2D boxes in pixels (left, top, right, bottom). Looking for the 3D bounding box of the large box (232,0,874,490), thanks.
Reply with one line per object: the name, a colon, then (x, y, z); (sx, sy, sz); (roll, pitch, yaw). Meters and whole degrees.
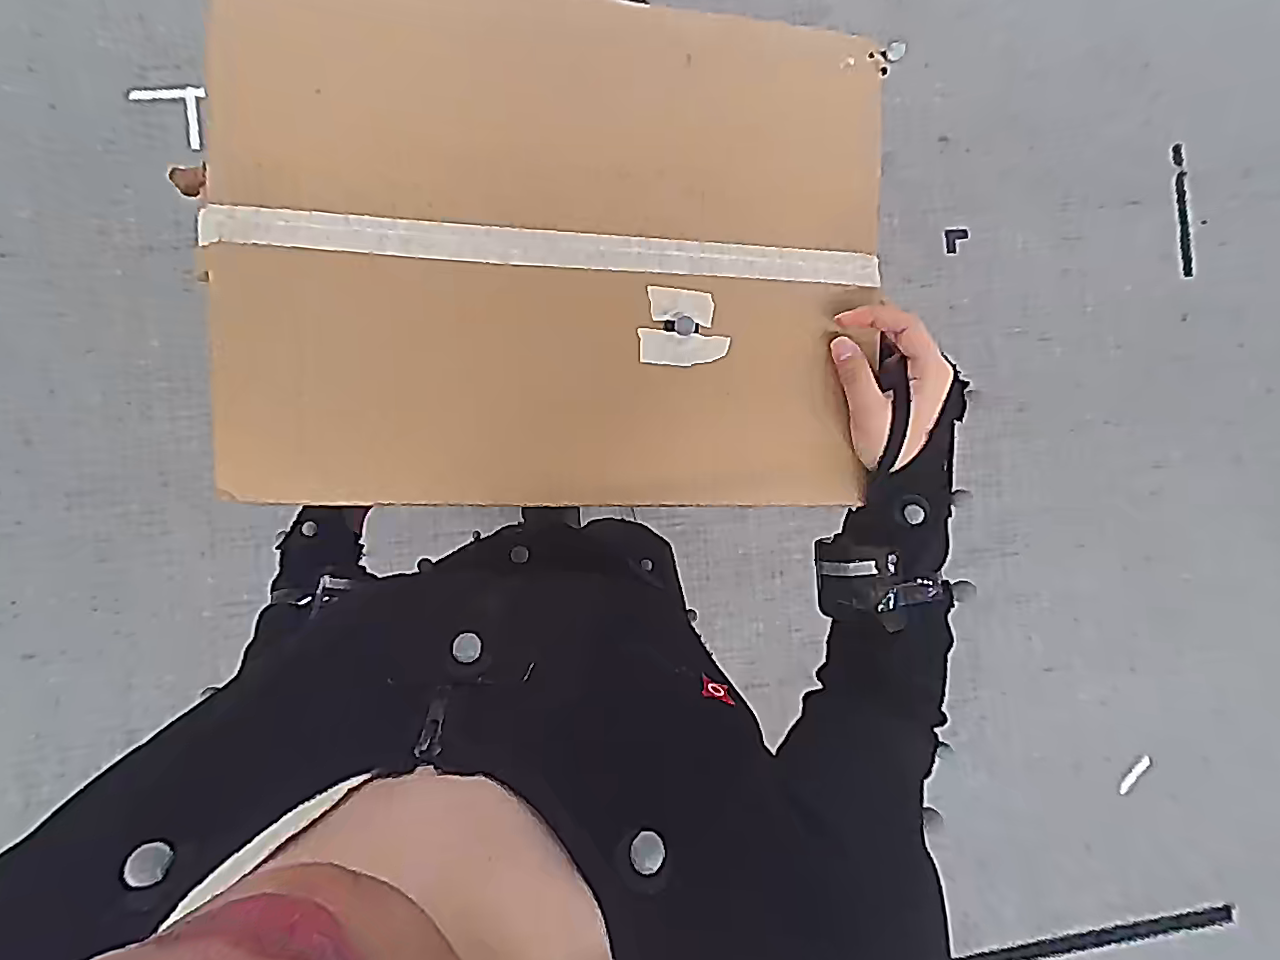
large box: (-0.063, -0.156, 0.488); (0.408, 0.320, 0.320); (1, 93, -10)
